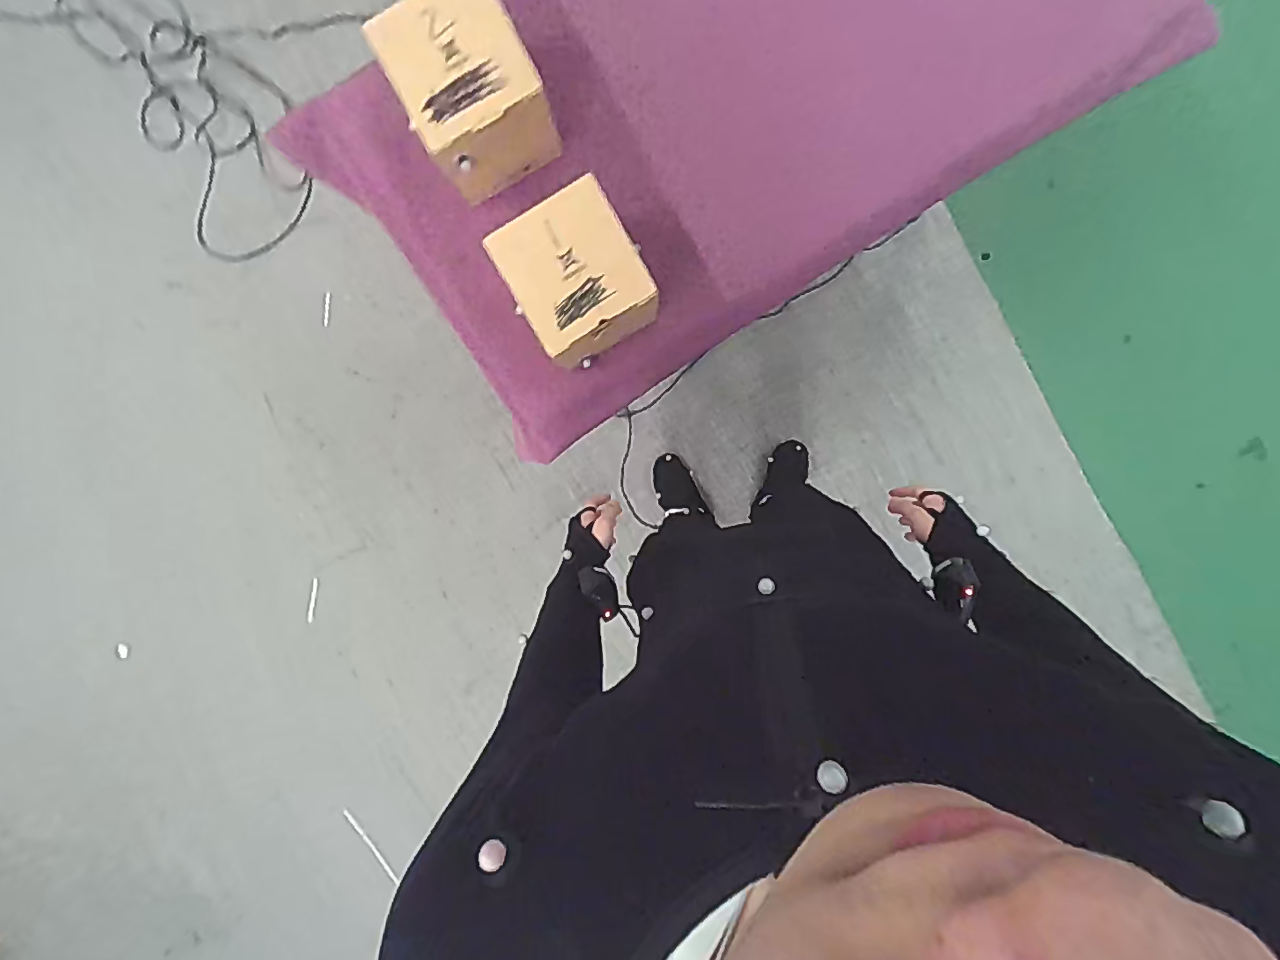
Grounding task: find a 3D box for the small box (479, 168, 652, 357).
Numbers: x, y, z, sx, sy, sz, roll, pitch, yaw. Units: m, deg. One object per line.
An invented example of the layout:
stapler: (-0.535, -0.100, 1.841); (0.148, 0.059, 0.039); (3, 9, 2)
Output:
small box: (-0.093, -0.289, 0.769); (0.168, 0.176, 0.179); (-30, 94, 3)
